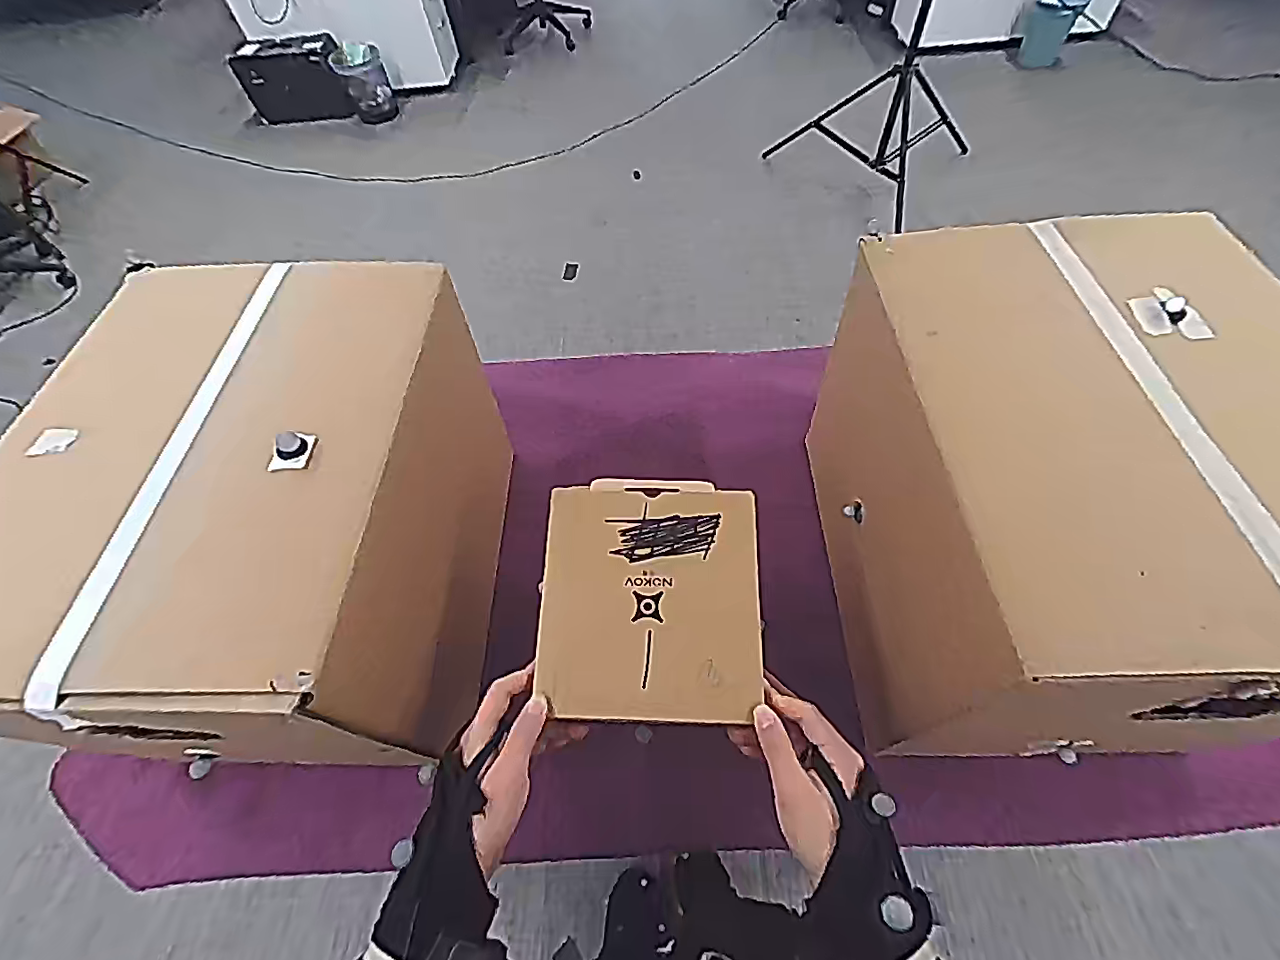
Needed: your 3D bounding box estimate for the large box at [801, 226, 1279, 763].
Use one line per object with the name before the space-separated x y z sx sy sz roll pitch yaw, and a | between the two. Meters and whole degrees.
large box | 0.365 0.023 0.517 0.320 0.320 0.408 -3 55 3
